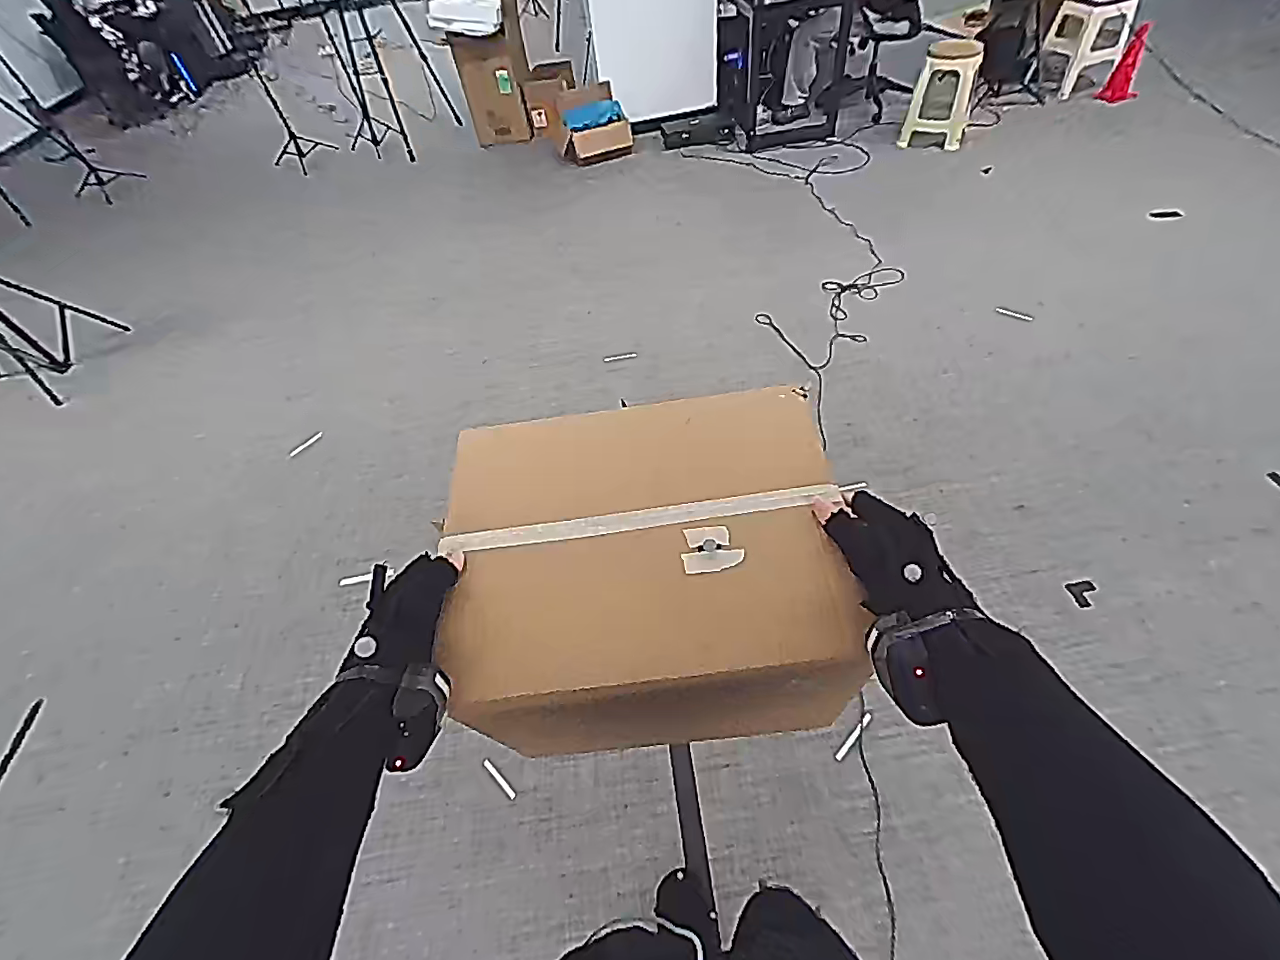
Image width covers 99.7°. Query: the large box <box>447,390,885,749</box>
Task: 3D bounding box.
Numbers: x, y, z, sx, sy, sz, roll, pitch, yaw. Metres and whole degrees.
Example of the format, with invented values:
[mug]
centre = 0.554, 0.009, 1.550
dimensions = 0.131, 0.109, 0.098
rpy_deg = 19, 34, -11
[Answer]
[large box]
centre = 0.021, 0.126, 0.684
dimensions = 0.408, 0.320, 0.320
rpy_deg = -7, 55, 2
